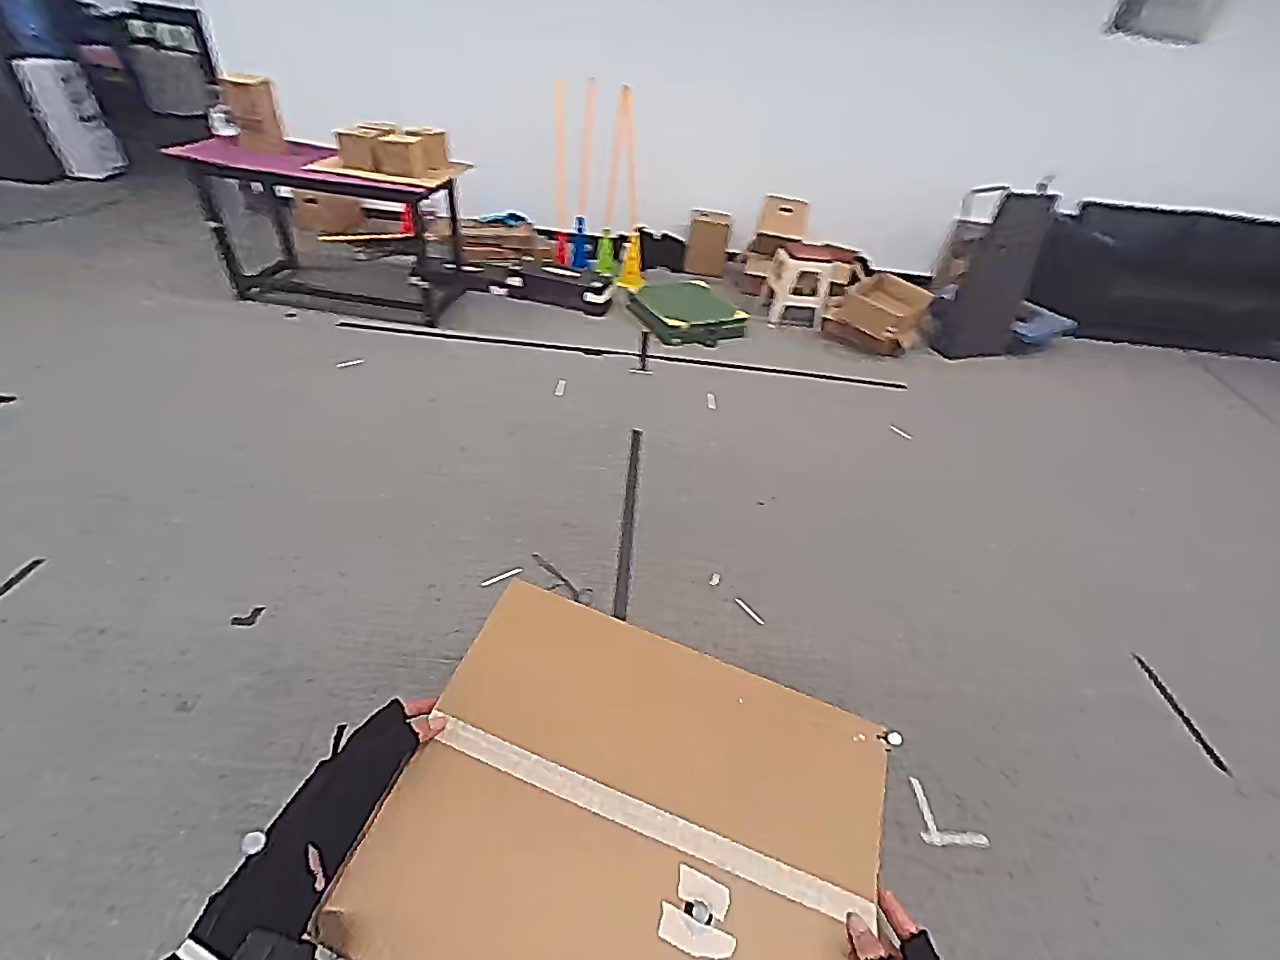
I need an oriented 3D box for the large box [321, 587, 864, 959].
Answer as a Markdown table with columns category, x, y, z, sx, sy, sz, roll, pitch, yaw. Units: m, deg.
| category | x | y | z | sx | sy | sz | roll | pitch | yaw |
| --- | --- | --- | --- | --- | --- | --- | --- | --- | --- |
| large box | -0.028 | 0.377 | 0.587 | 0.408 | 0.320 | 0.320 | 20 | 52 | 6 |
